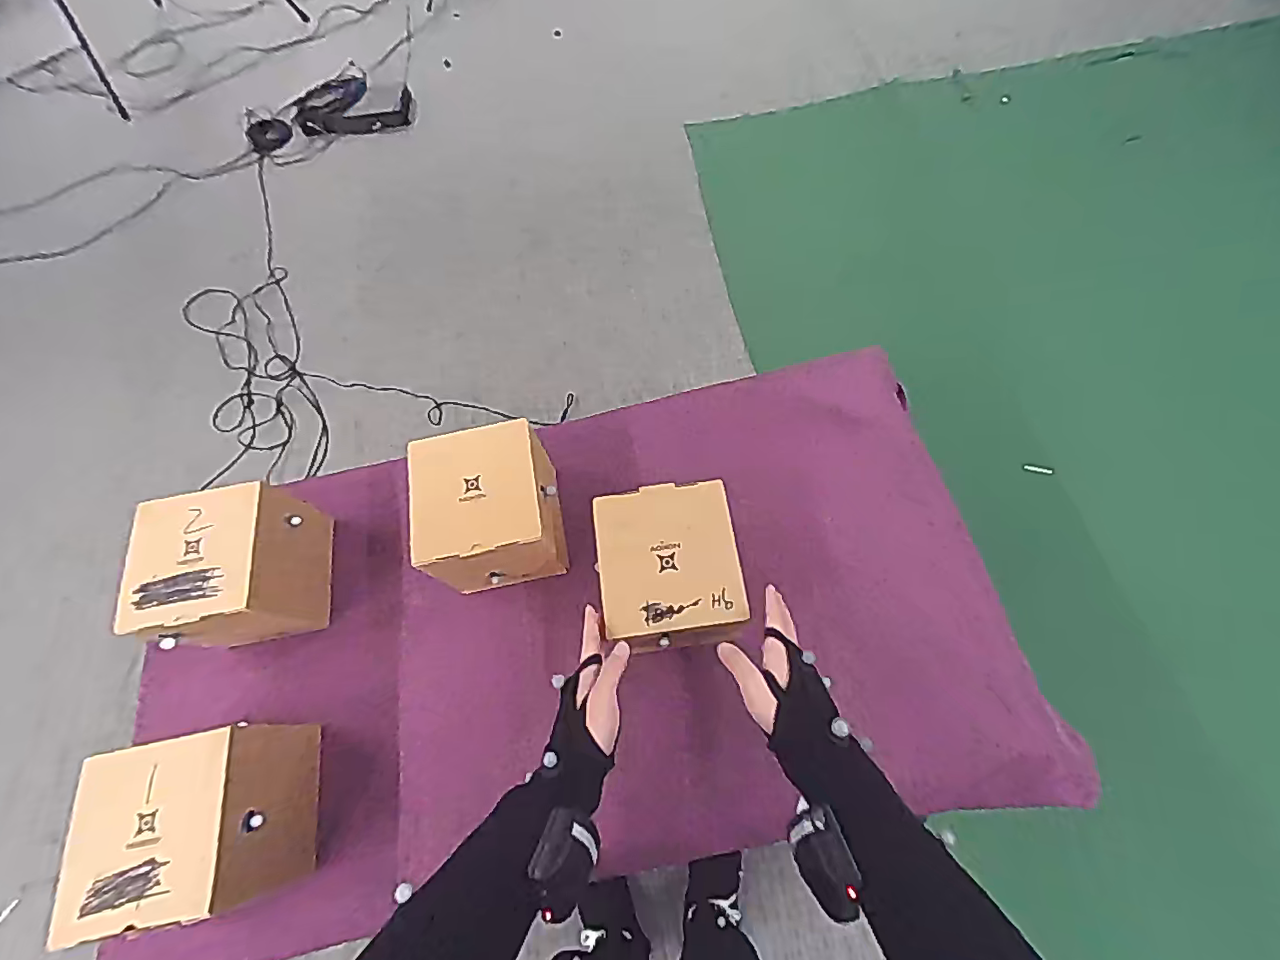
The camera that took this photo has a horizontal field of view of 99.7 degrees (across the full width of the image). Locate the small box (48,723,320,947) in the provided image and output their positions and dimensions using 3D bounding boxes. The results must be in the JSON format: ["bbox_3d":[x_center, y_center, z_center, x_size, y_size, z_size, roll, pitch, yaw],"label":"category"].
[{"bbox_3d":[-0.505,0.393,0.631,0.168,0.176,0.179,-11,65,-1],"label":"small box"}]

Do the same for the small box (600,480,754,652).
[{"bbox_3d":[0.043,0.119,0.711,0.168,0.176,0.179,-8,67,1],"label":"small box"}]

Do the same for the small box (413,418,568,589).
[{"bbox_3d":[-0.204,0.039,0.764,0.168,0.176,0.179,-12,67,-1],"label":"small box"}]
